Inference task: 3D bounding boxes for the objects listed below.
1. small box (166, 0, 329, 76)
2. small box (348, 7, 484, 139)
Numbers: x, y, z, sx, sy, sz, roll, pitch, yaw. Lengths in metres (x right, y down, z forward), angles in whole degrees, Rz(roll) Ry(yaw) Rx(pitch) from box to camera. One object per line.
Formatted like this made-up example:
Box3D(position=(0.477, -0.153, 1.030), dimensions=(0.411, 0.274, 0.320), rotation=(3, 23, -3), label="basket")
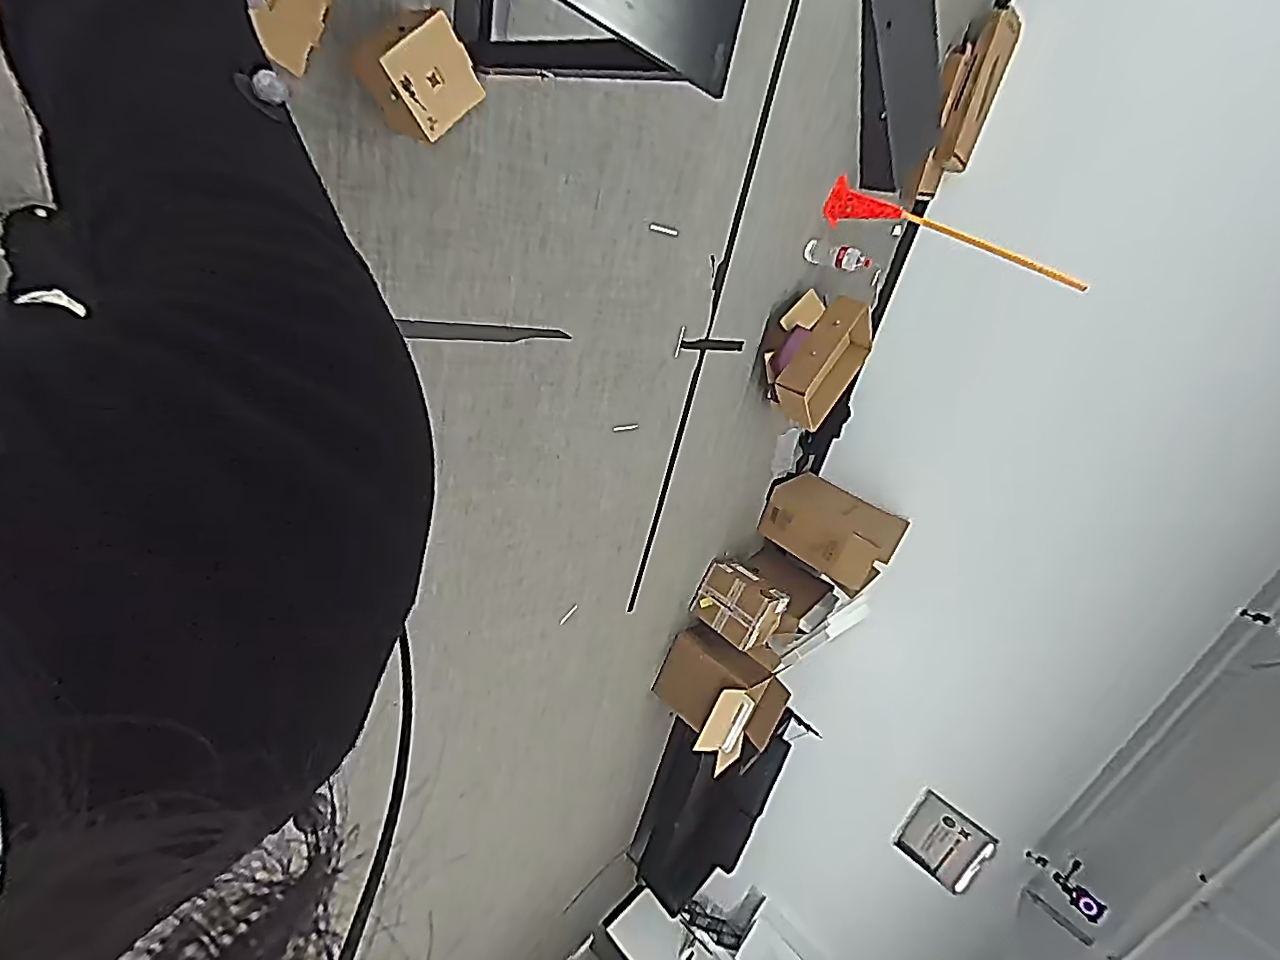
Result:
Box3D(position=(-0.677, -0.842, 0.930), dimensions=(0.179, 0.176, 0.168), rotation=(17, 102, -55), label="small box")
Box3D(position=(-0.479, -0.871, 1.158), dimensions=(0.179, 0.176, 0.168), rotation=(-50, 146, -12), label="small box")
